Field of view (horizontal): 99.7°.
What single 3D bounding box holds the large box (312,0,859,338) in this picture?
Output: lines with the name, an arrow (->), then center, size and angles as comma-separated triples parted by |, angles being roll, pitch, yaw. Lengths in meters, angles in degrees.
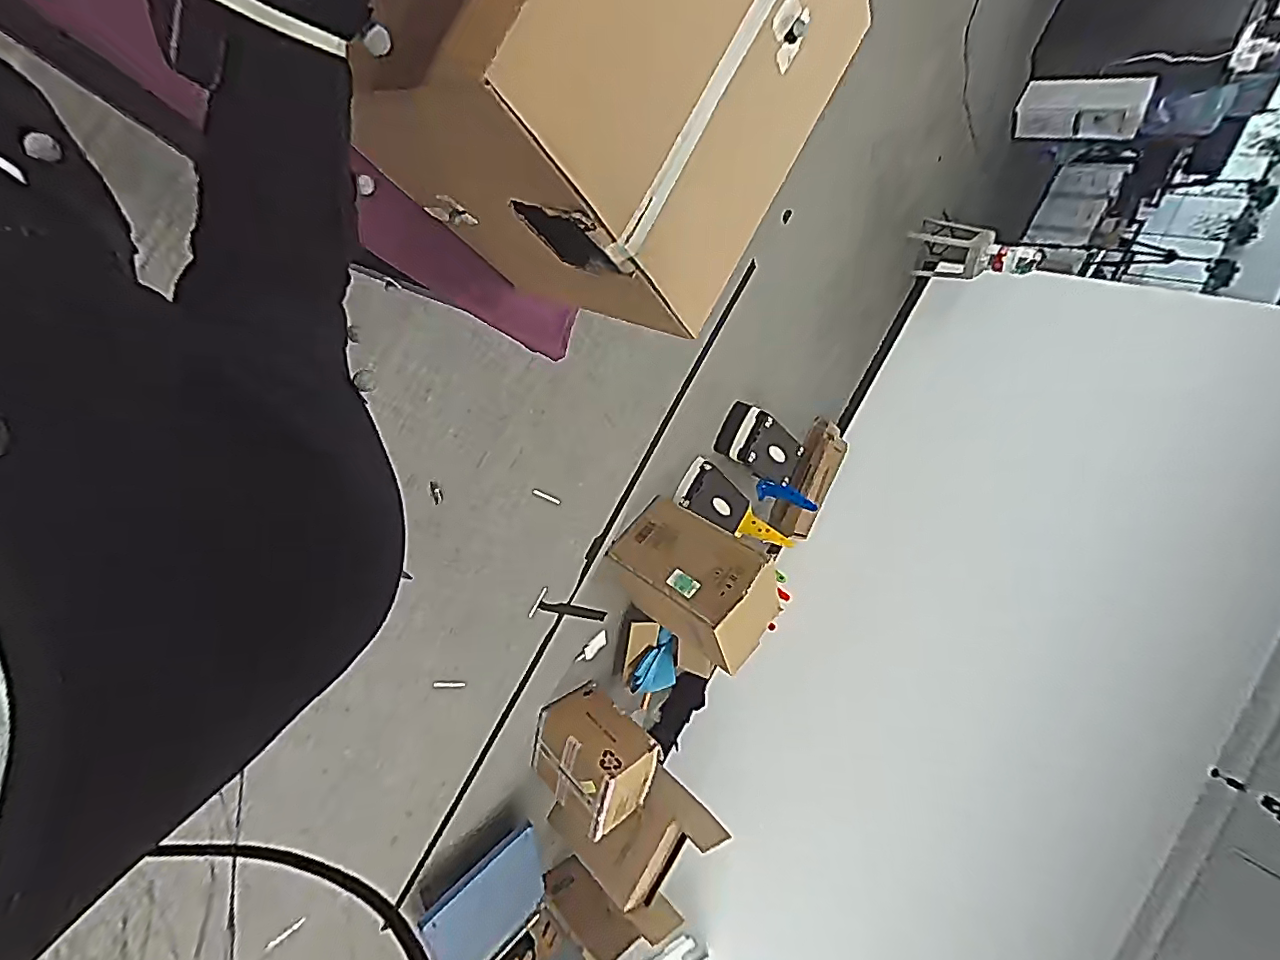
large box -> -0.037, -0.418, 0.542 | 0.320, 0.320, 0.408 | 32, 85, -56
